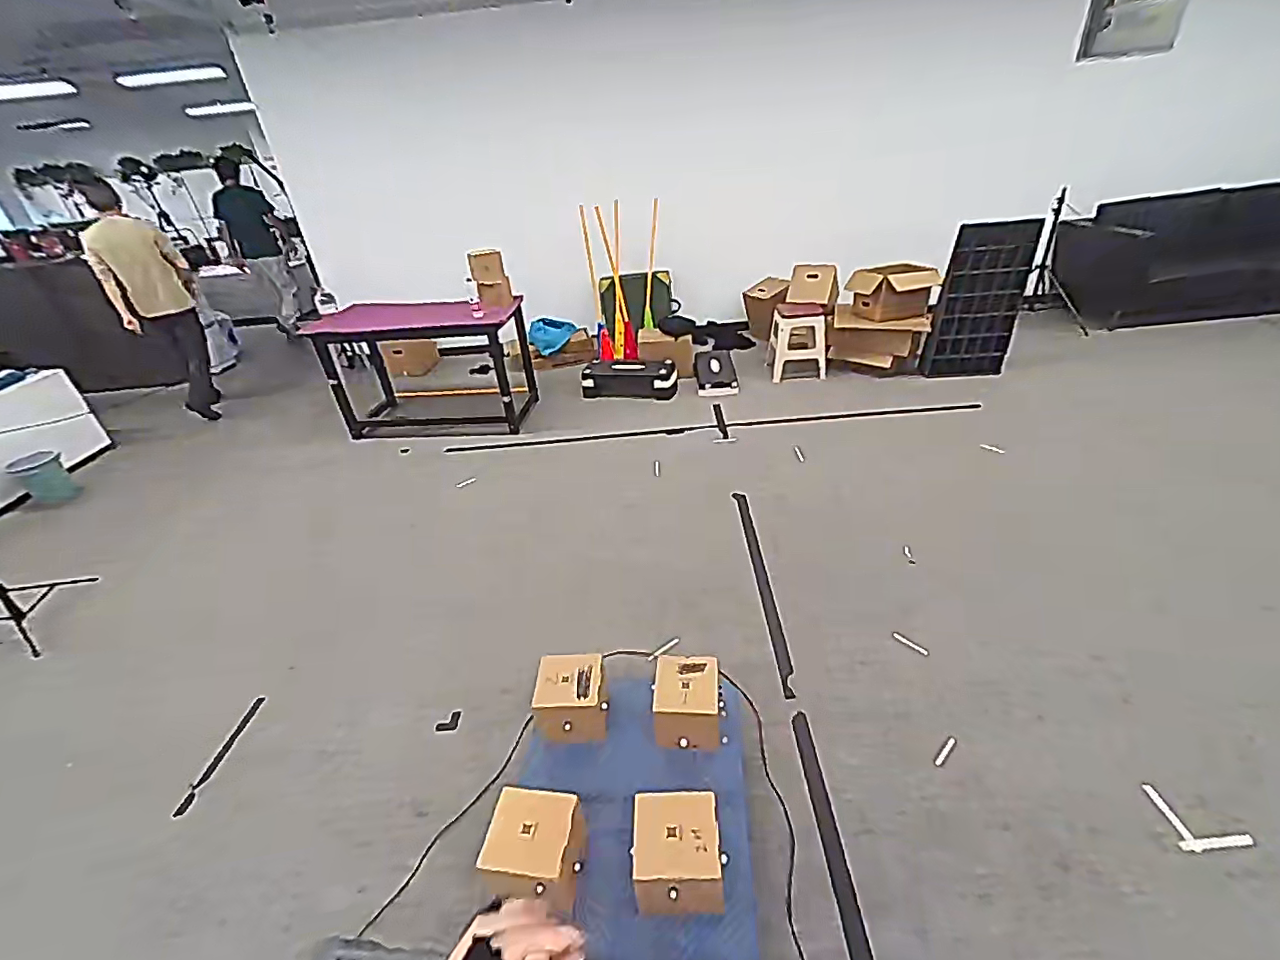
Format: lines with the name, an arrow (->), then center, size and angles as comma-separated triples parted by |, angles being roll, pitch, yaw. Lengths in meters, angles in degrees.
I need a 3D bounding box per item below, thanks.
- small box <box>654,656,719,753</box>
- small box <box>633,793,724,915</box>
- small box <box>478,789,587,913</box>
small box -> 0.129, 0.601, 1.456 | 0.168, 0.176, 0.179 | -1, 33, 8
small box -> 0.083, 0.795, 1.149 | 0.179, 0.176, 0.168 | -3, 32, 4
small box -> -0.225, 0.808, 1.179 | 0.179, 0.176, 0.168 | 1, 32, 8
